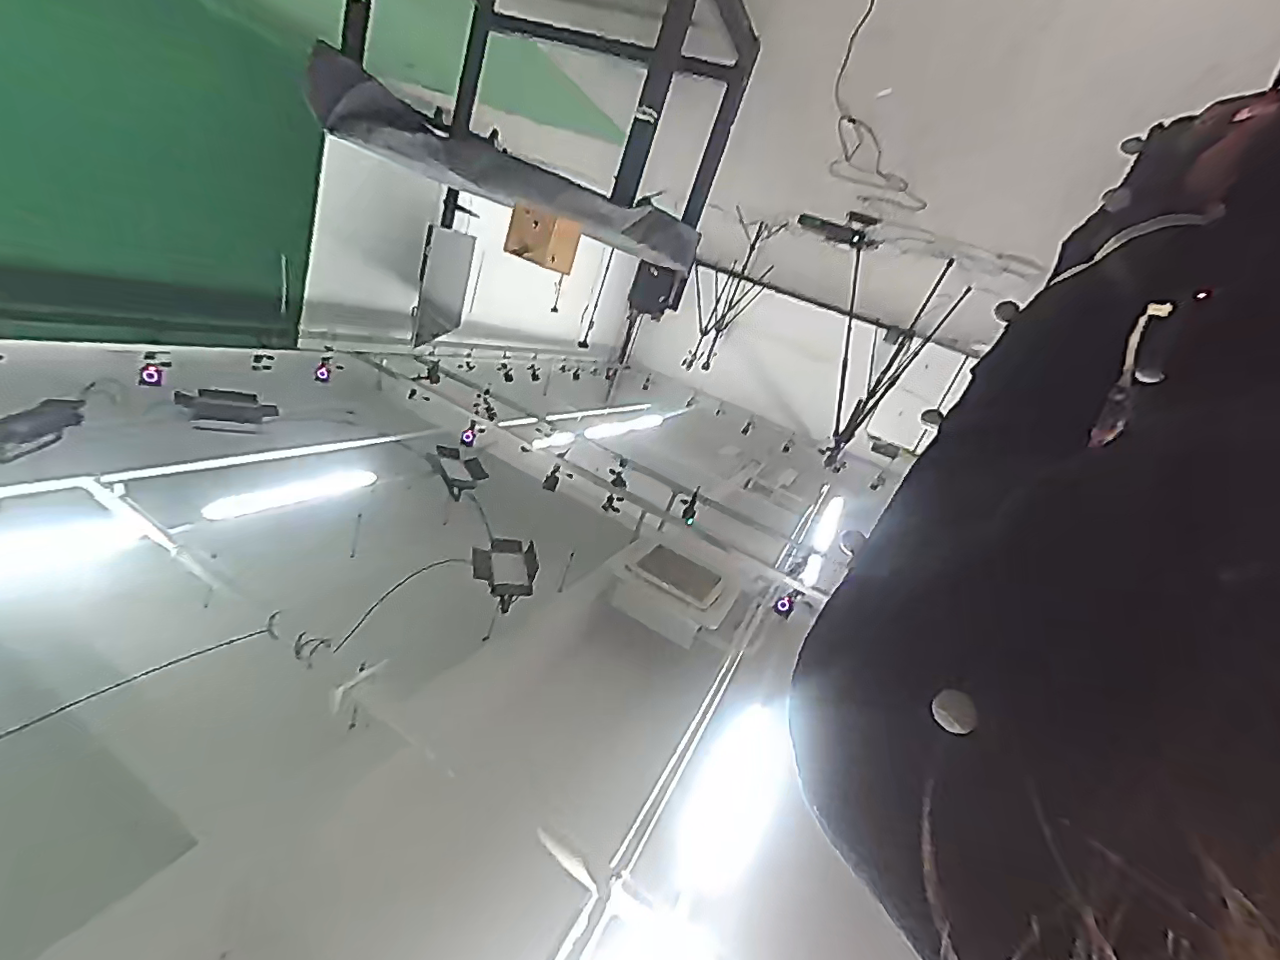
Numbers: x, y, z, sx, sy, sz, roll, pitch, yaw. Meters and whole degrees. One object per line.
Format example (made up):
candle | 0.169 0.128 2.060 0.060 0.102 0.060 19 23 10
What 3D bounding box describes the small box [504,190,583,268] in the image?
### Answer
small box | -0.309 -0.817 1.765 0.168 0.176 0.179 27 -160 16
